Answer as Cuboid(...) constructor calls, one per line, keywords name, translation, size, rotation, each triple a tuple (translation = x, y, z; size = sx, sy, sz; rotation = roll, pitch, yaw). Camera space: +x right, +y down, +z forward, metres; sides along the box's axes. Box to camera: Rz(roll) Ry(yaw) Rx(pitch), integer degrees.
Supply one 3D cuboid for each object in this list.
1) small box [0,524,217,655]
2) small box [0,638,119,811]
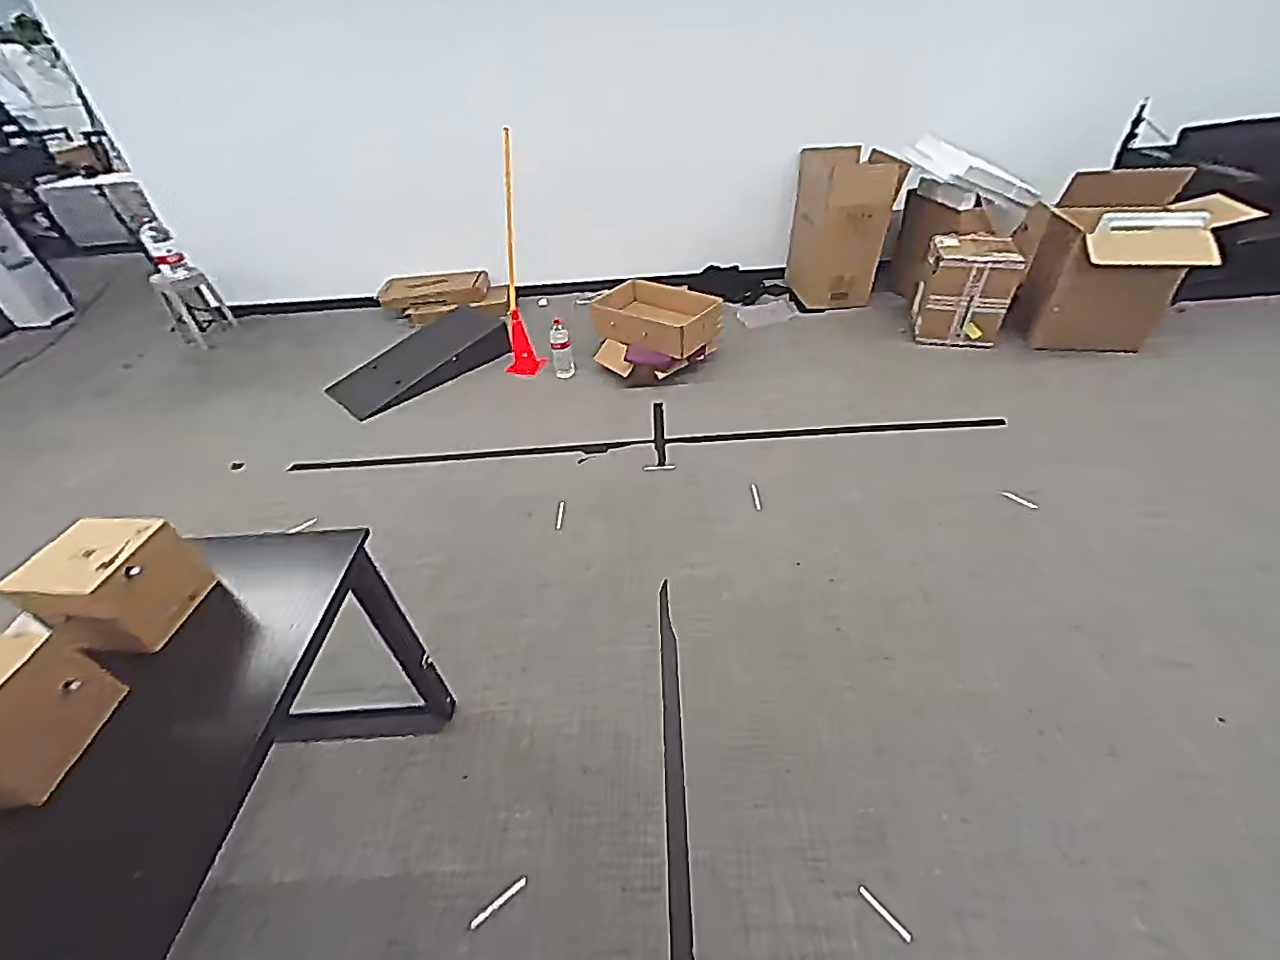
Cuboid(name="small box", translation=(-0.924, 0.194, 0.960), size=(0.179, 0.176, 0.168), rotation=(-1, 41, 7))
Cuboid(name="small box", translation=(-0.923, 0.351, 0.777), size=(0.168, 0.176, 0.179), rotation=(-4, 41, 3))
